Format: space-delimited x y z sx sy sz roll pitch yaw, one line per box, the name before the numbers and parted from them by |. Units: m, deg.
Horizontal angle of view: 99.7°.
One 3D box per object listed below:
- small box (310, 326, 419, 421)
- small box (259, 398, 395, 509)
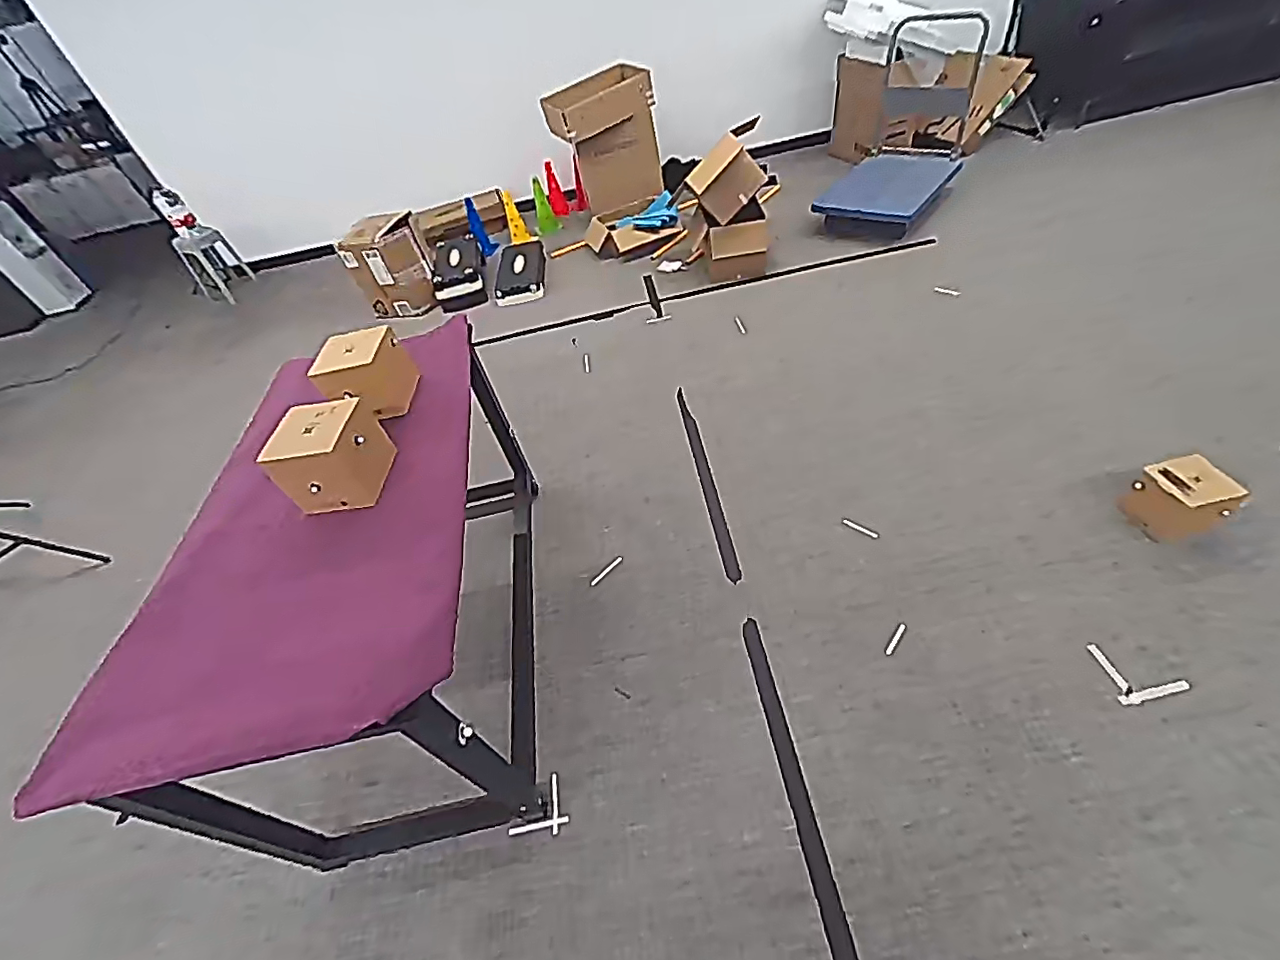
small box | -0.694 -0.262 1.386 0.168 0.176 0.179 -11 45 4
small box | -0.664 -0.051 1.176 0.168 0.176 0.179 -7 45 6
